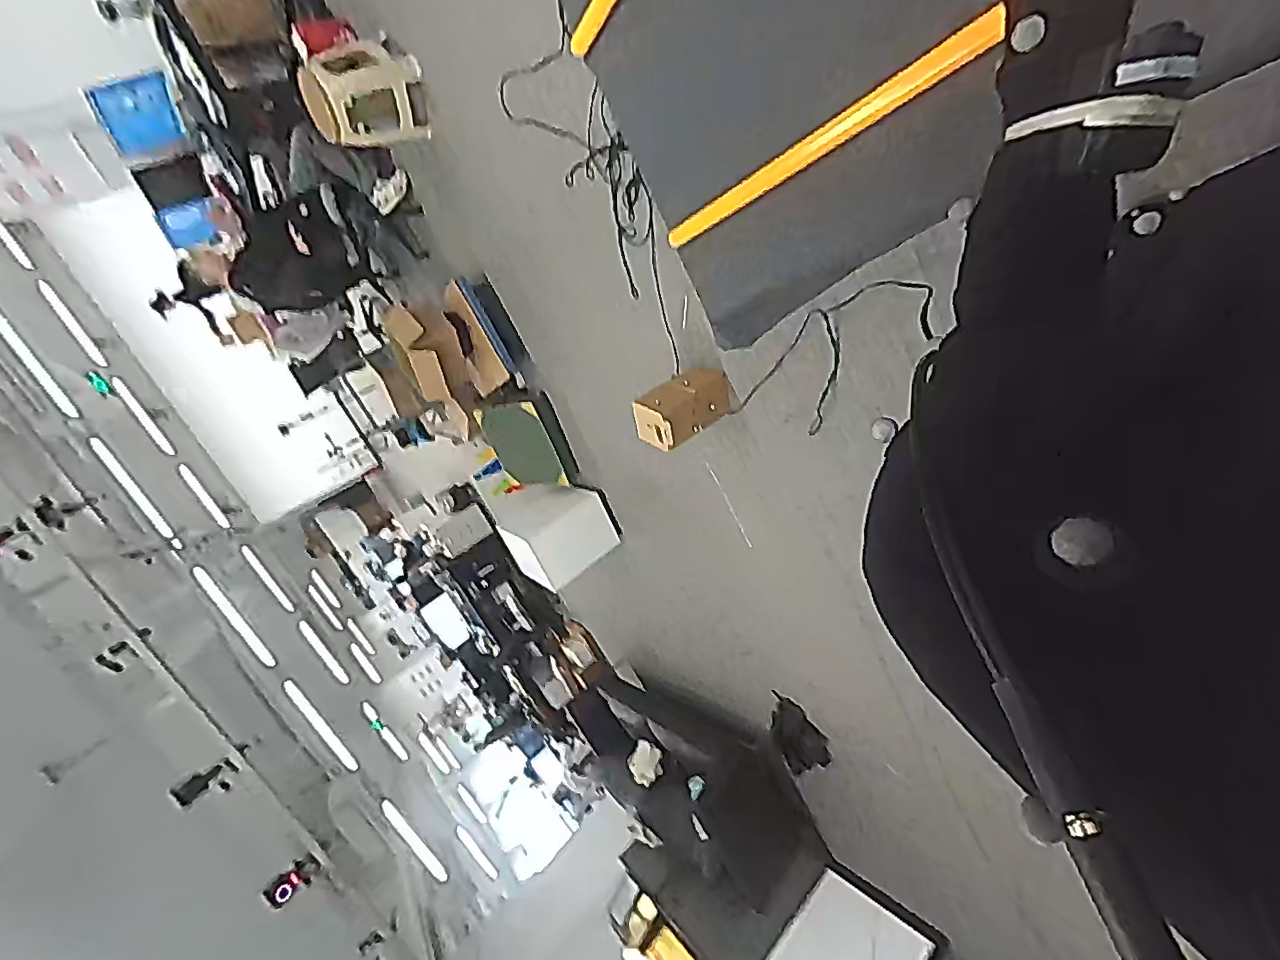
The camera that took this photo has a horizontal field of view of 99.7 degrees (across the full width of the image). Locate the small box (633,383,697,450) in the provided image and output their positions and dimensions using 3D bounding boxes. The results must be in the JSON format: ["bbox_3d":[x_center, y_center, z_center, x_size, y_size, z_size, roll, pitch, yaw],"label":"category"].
[{"bbox_3d":[0.101,-0.245,2.033,0.179,0.176,0.168,30,143,42],"label":"small box"}]

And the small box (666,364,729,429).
[{"bbox_3d":[0.228,-0.328,2.098,0.168,0.176,0.179,25,140,46],"label":"small box"}]
